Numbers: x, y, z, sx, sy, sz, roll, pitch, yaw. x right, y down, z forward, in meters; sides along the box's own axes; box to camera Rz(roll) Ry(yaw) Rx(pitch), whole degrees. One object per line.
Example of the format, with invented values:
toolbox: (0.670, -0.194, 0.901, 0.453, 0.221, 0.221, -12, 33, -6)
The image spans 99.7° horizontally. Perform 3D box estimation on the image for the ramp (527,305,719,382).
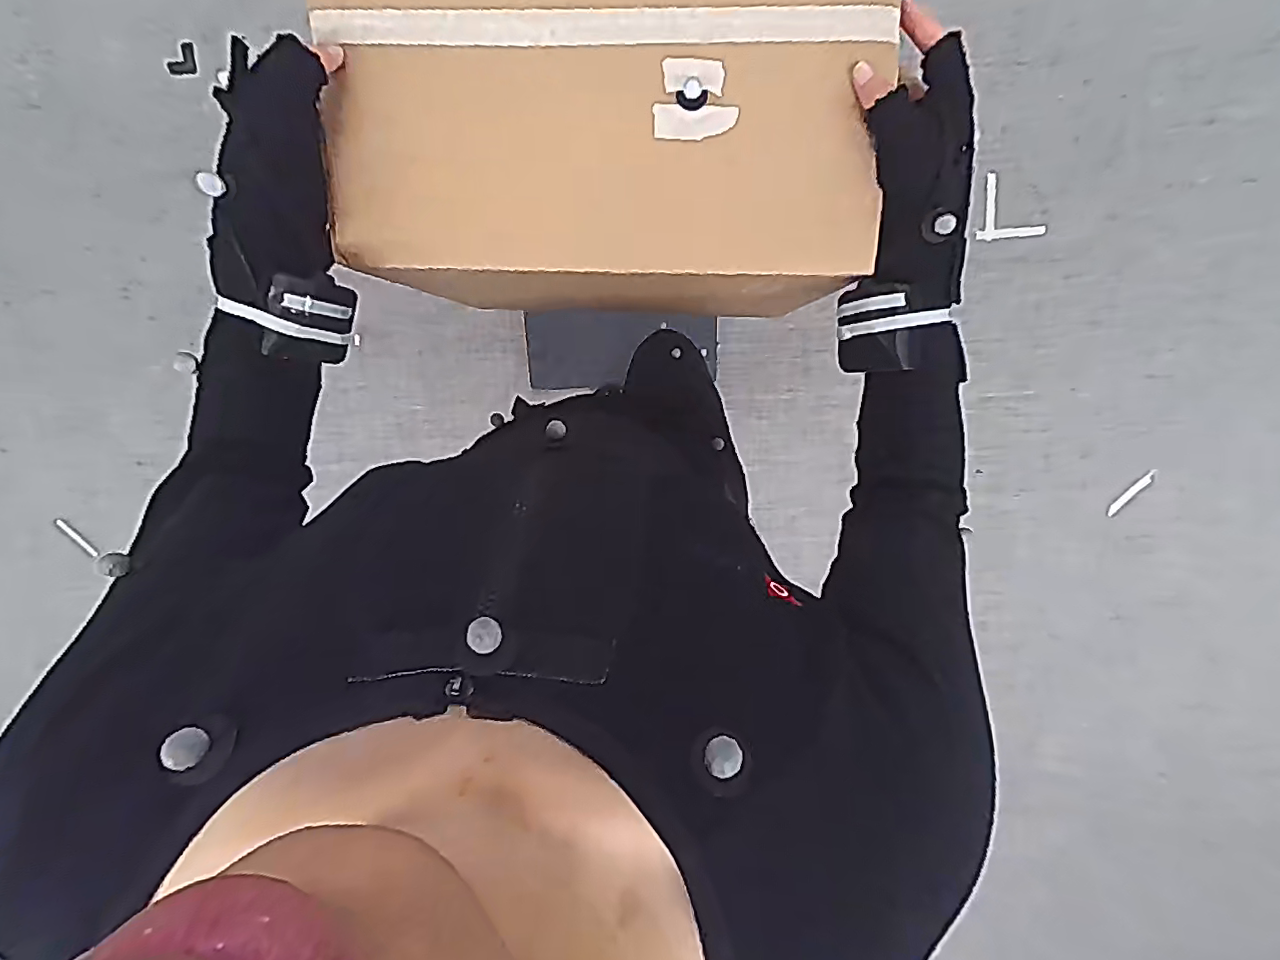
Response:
ramp: (-0.055, -0.737, 1.268, 0.509, 0.206, 0.991, -4, 100, 0)

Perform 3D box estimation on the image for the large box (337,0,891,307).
large box: (-0.018, -0.350, 0.533, 0.408, 0.320, 0.320, 2, 102, 2)
